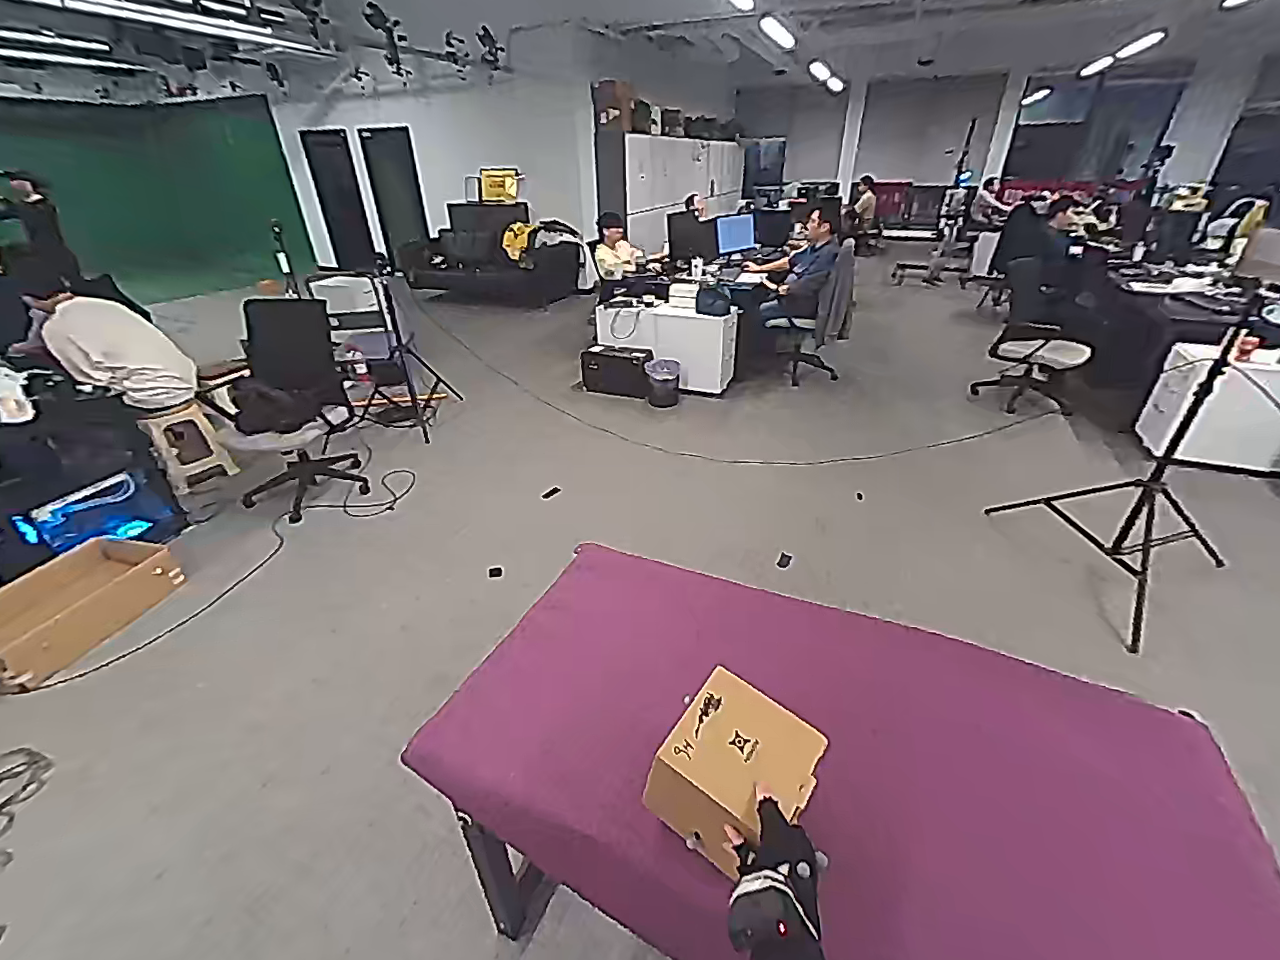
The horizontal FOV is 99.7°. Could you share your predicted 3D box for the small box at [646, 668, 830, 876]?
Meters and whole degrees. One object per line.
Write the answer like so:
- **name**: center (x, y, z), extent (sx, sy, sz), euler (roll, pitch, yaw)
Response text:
- **small box**: center (0.129, 0.409, 0.754), extent (0.179, 0.176, 0.168), euler (30, 44, 22)
